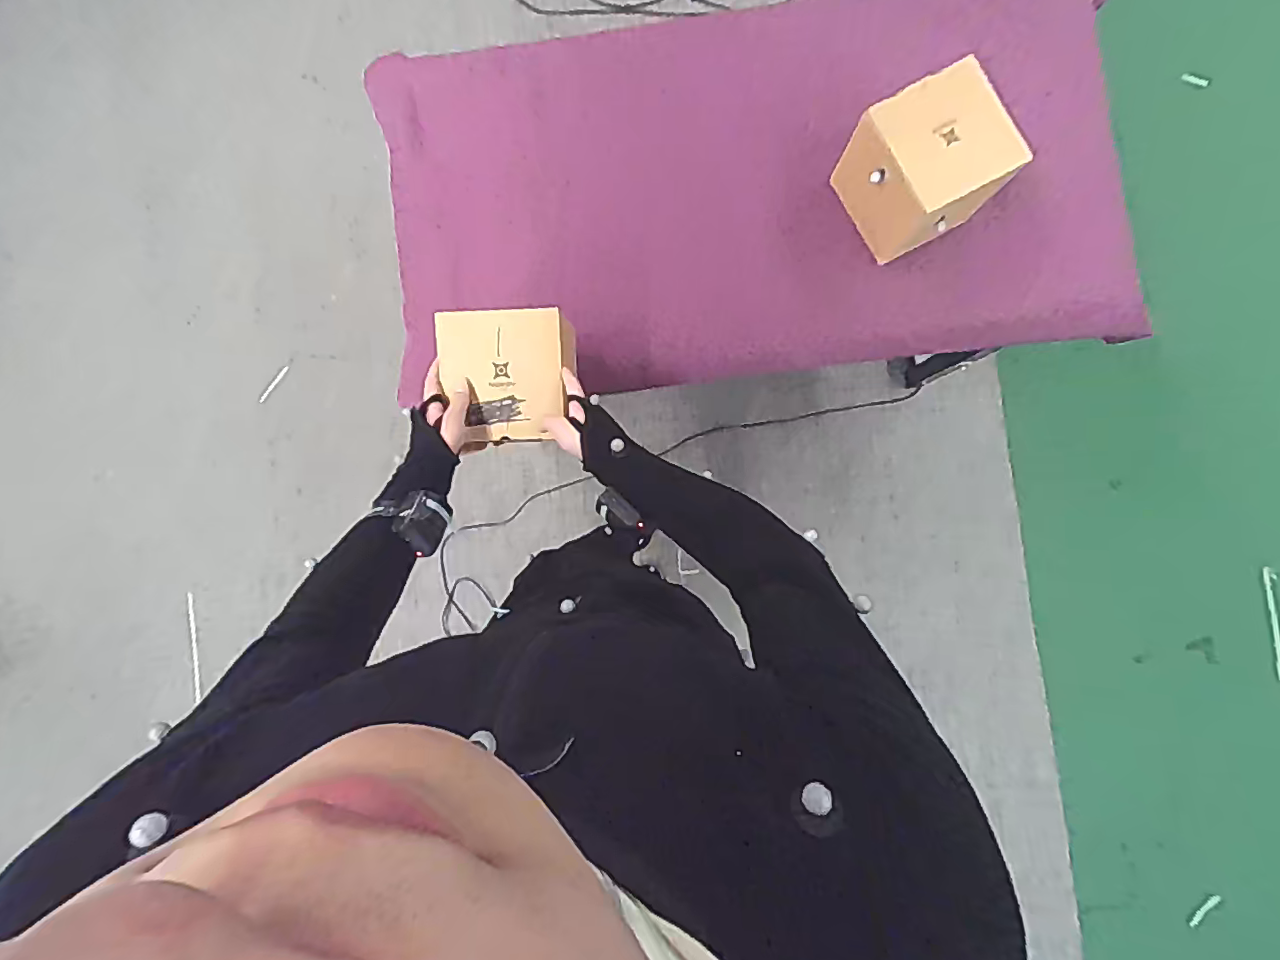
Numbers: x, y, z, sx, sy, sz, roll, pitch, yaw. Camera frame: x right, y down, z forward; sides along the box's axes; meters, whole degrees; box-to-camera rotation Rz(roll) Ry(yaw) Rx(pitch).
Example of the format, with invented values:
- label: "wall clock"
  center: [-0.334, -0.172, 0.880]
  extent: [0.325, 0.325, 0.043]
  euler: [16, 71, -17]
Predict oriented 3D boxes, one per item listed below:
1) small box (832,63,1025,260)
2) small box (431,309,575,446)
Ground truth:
- label: "small box"
  center: [0.425, -0.466, 0.829]
  extent: [0.168, 0.176, 0.179]
  euler: [-28, 86, 1]
- label: "small box"
  center: [-0.188, -0.144, 0.790]
  extent: [0.168, 0.176, 0.179]
  euler: [-2, 96, 0]
